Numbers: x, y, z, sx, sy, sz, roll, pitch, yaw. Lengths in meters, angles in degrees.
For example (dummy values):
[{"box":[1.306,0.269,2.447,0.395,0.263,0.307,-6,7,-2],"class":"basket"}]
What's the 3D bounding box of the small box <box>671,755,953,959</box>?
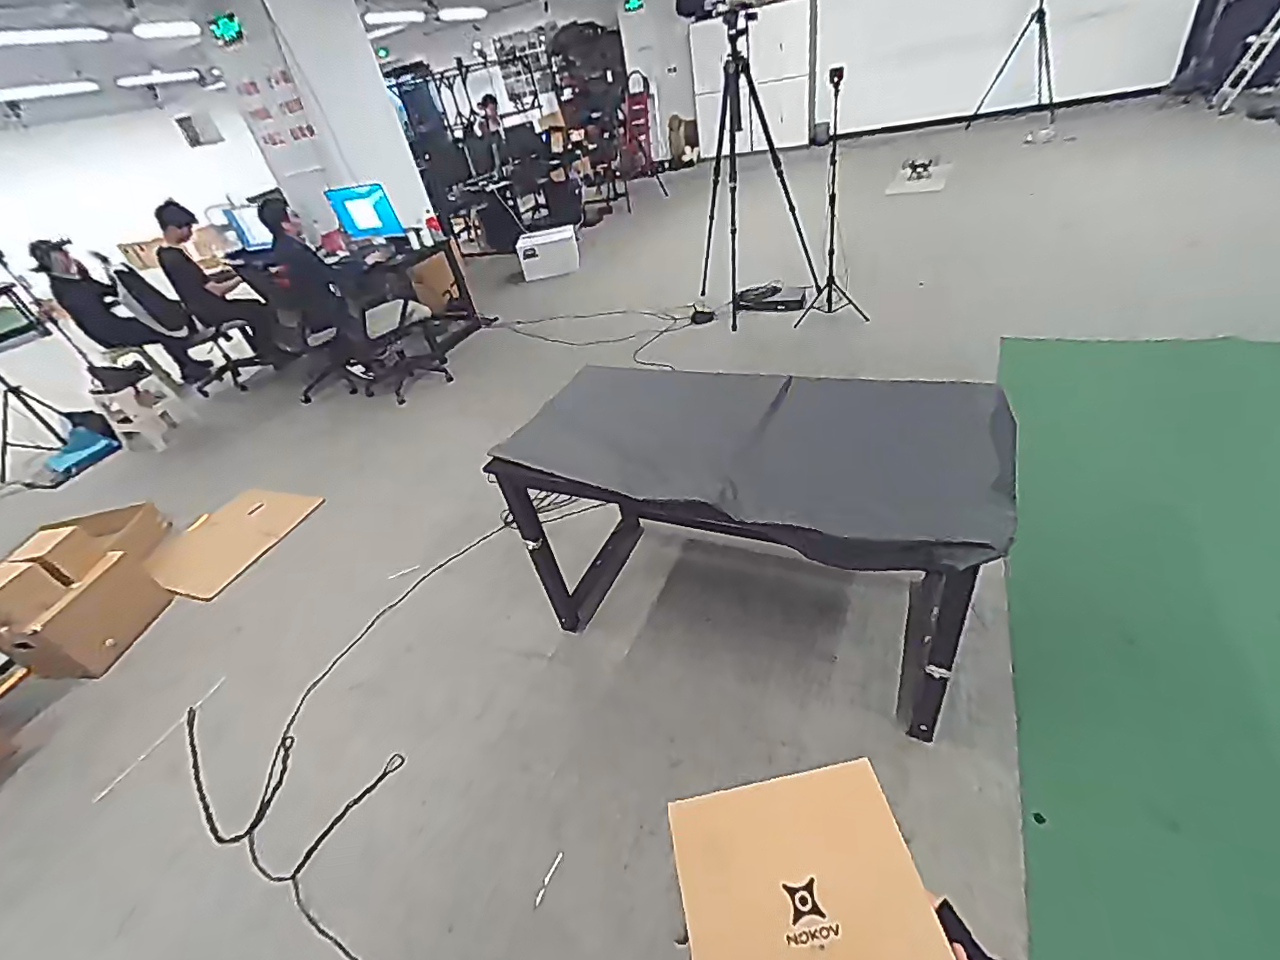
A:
[{"box":[0.127,0.350,0.422,0.168,0.176,0.179,-14,42,2],"class":"small box"}]
